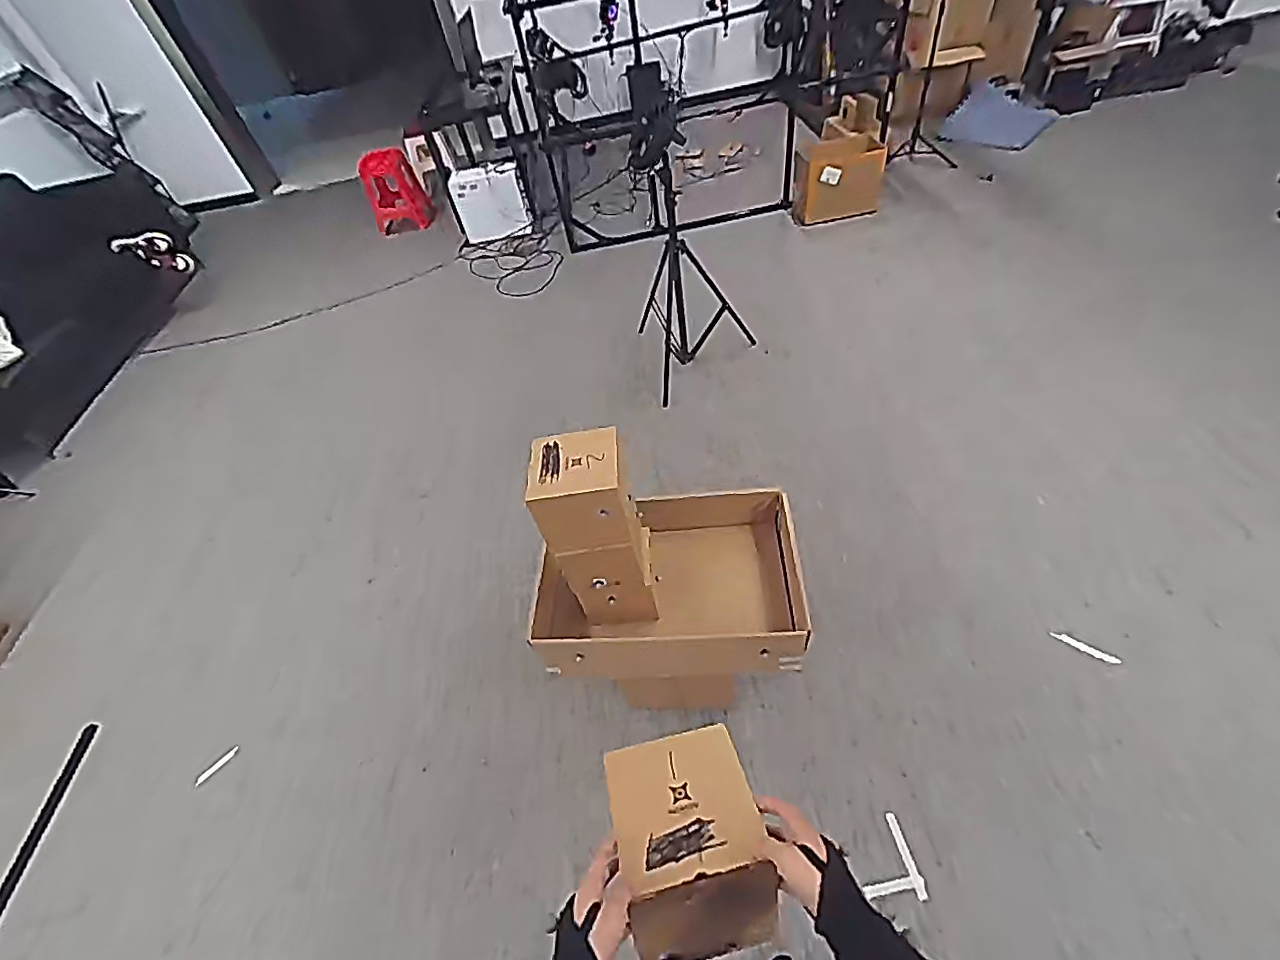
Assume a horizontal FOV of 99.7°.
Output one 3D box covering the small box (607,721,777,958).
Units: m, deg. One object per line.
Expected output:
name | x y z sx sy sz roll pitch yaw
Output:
small box | 0.062 0.442 0.668 0.168 0.176 0.179 -11 27 -6

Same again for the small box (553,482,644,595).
small box | -0.088 0.131 1.202 0.168 0.176 0.179 -9 48 4

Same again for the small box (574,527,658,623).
small box | -0.054 0.237 1.322 0.179 0.176 0.168 -6 49 5
